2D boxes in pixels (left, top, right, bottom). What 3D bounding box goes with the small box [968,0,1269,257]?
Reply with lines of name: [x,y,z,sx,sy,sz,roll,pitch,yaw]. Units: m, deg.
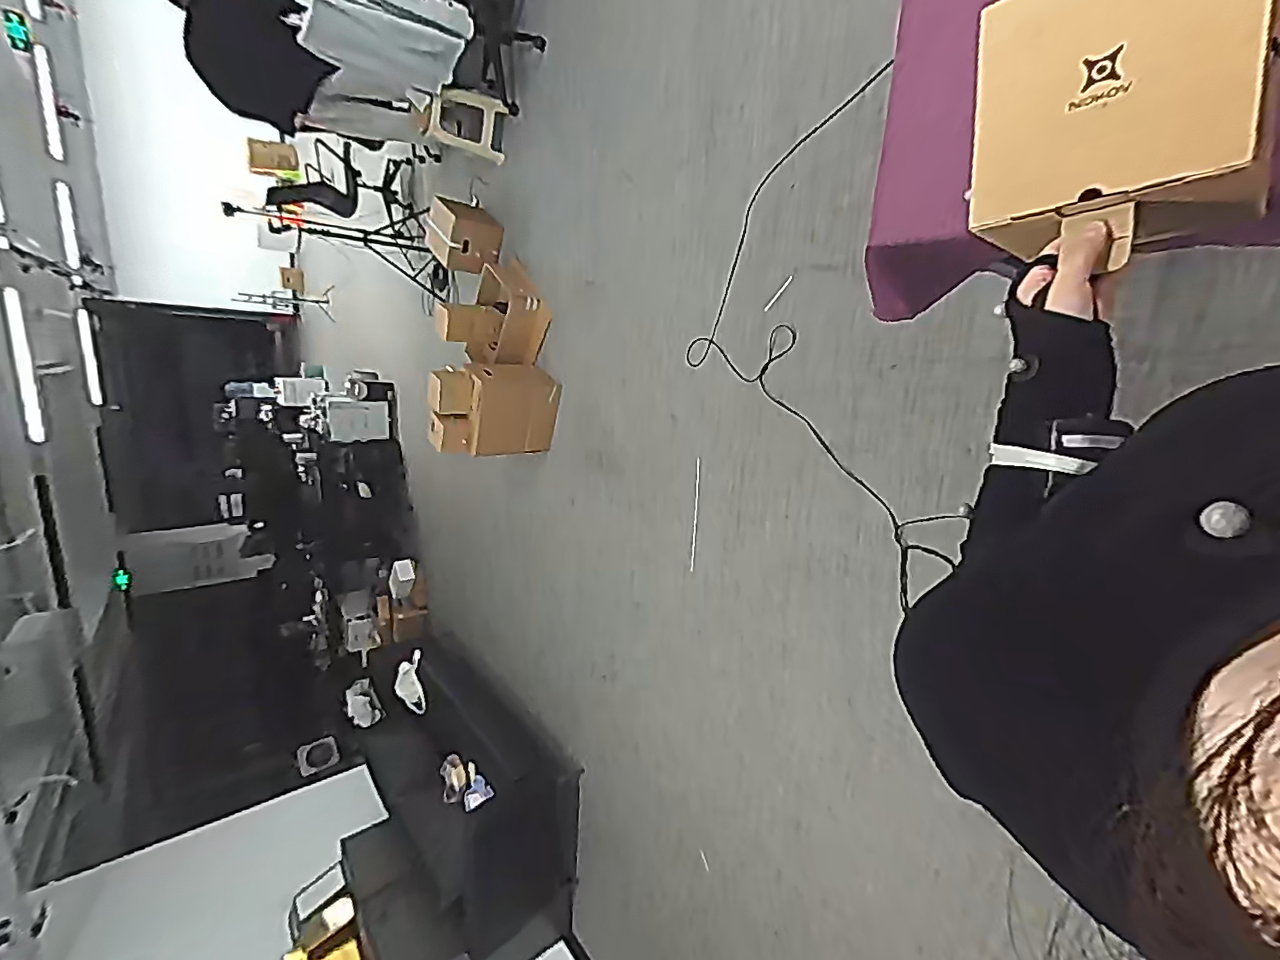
small box: [0.407,-0.310,0.465,0.168,0.176,0.179,8,102,49]
